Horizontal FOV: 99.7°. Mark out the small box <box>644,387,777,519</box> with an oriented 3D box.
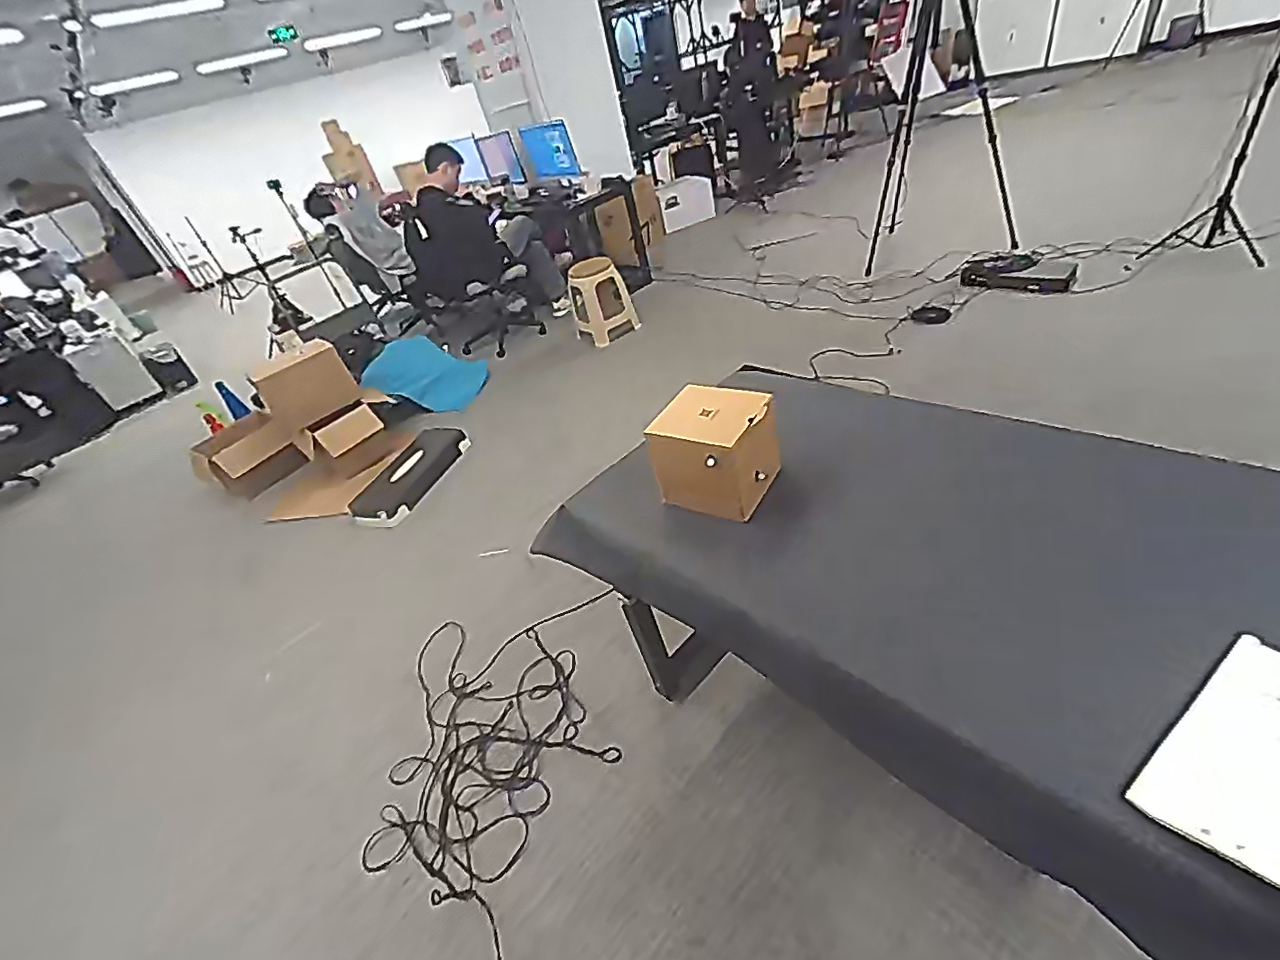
[{"bbox_3d":[0.136,-0.051,0.988,0.179,0.176,0.168,13,45,33],"label":"small box"}]
